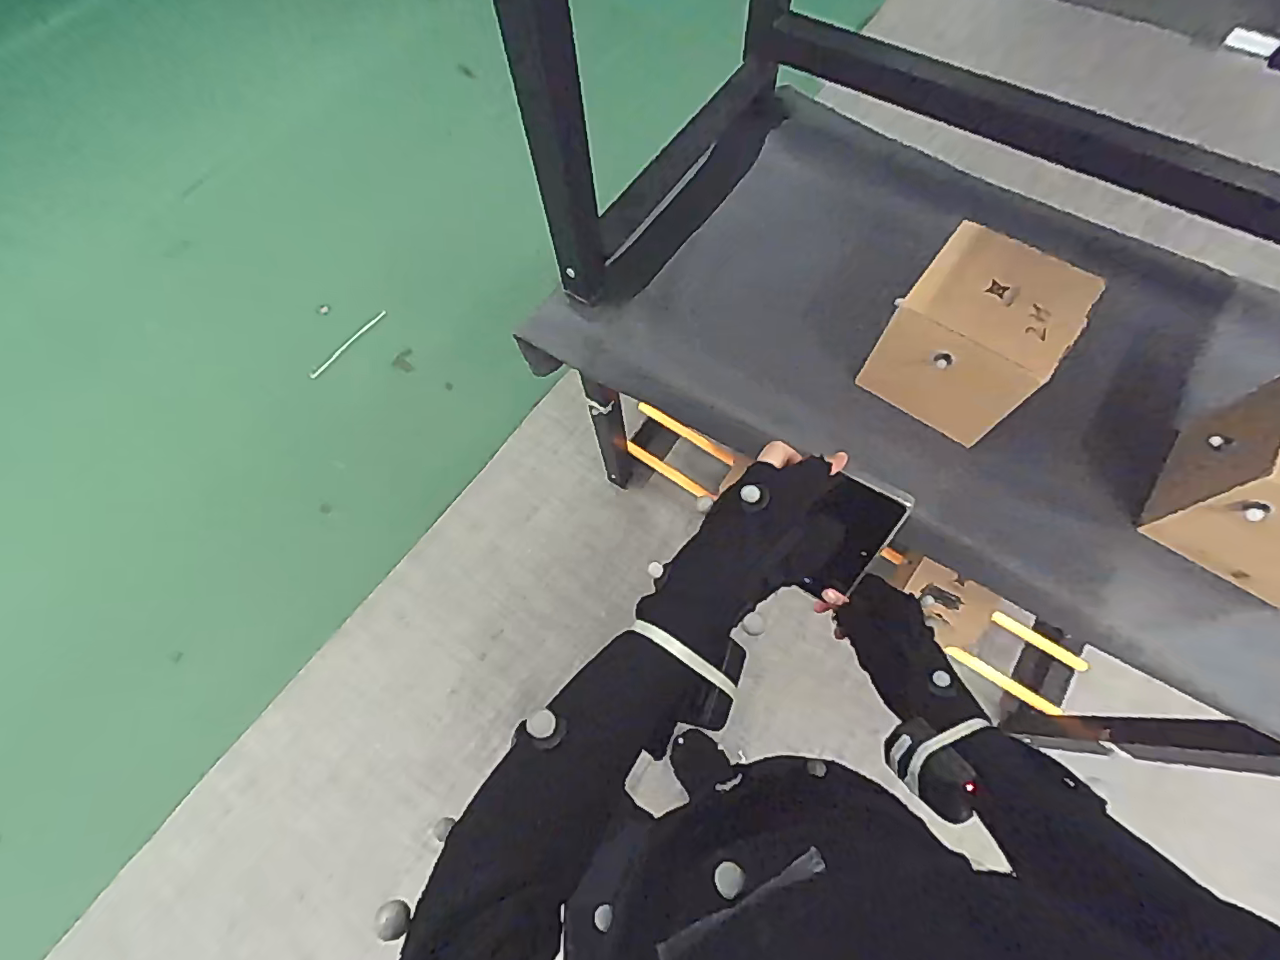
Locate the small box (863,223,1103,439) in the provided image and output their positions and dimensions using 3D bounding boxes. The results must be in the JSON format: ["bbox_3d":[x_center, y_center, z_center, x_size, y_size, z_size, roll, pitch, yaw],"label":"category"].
[{"bbox_3d":[0.421,-0.182,0.696,0.179,0.176,0.168,35,73,16],"label":"small box"}]

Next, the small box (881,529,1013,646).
[{"bbox_3d":[0.657,0.243,1.183,0.168,0.176,0.179,36,74,16],"label":"small box"}]
